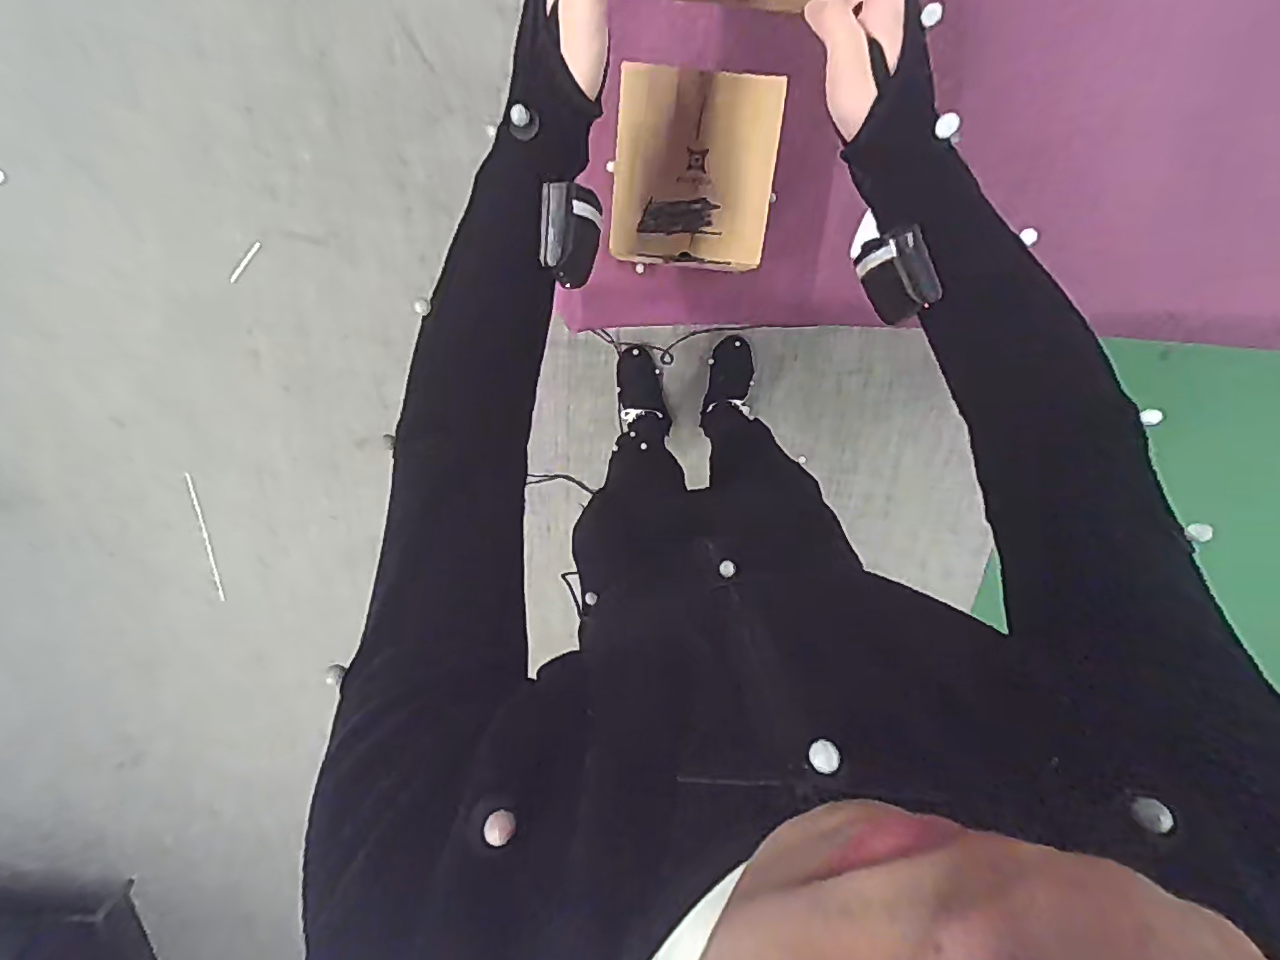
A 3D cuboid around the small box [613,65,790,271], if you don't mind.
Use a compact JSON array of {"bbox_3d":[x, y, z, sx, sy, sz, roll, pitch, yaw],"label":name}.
[{"bbox_3d":[0.062,-0.345,0.633,0.168,0.176,0.179,5,109,-1],"label":"small box"}]
